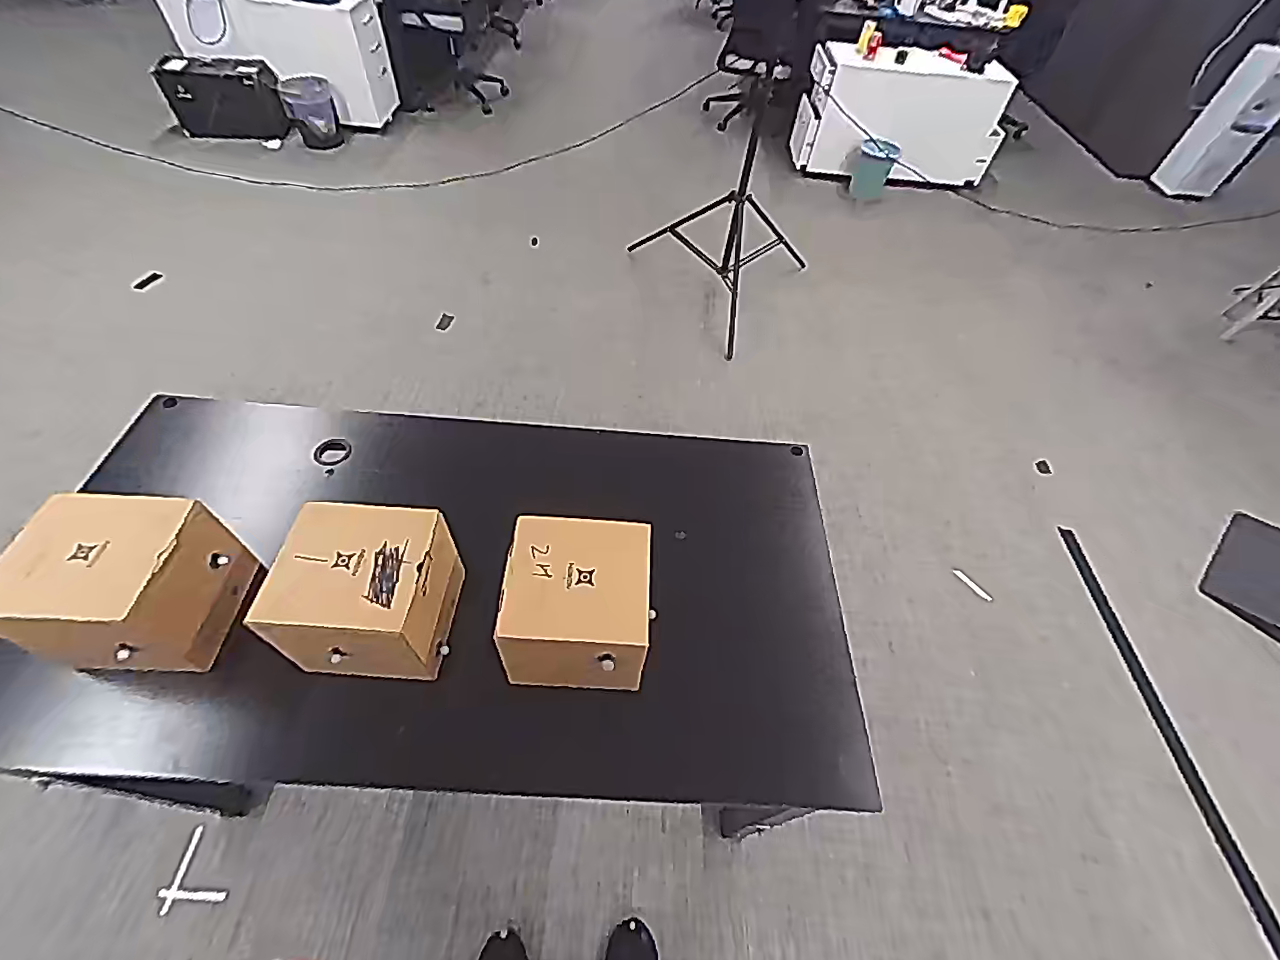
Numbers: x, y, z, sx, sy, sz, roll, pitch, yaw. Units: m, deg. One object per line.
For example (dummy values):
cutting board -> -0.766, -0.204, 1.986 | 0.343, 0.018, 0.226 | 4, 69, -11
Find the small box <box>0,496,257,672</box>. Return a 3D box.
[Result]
small box -> -0.644, 0.138, 0.694 | 0.179, 0.176, 0.168 | 2, 52, -3

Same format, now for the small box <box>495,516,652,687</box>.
small box -> -0.080, 0.167, 0.721 | 0.179, 0.176, 0.168 | 4, 52, -2

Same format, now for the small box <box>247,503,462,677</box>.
small box -> -0.349, 0.150, 0.710 | 0.179, 0.176, 0.168 | 4, 52, -1
